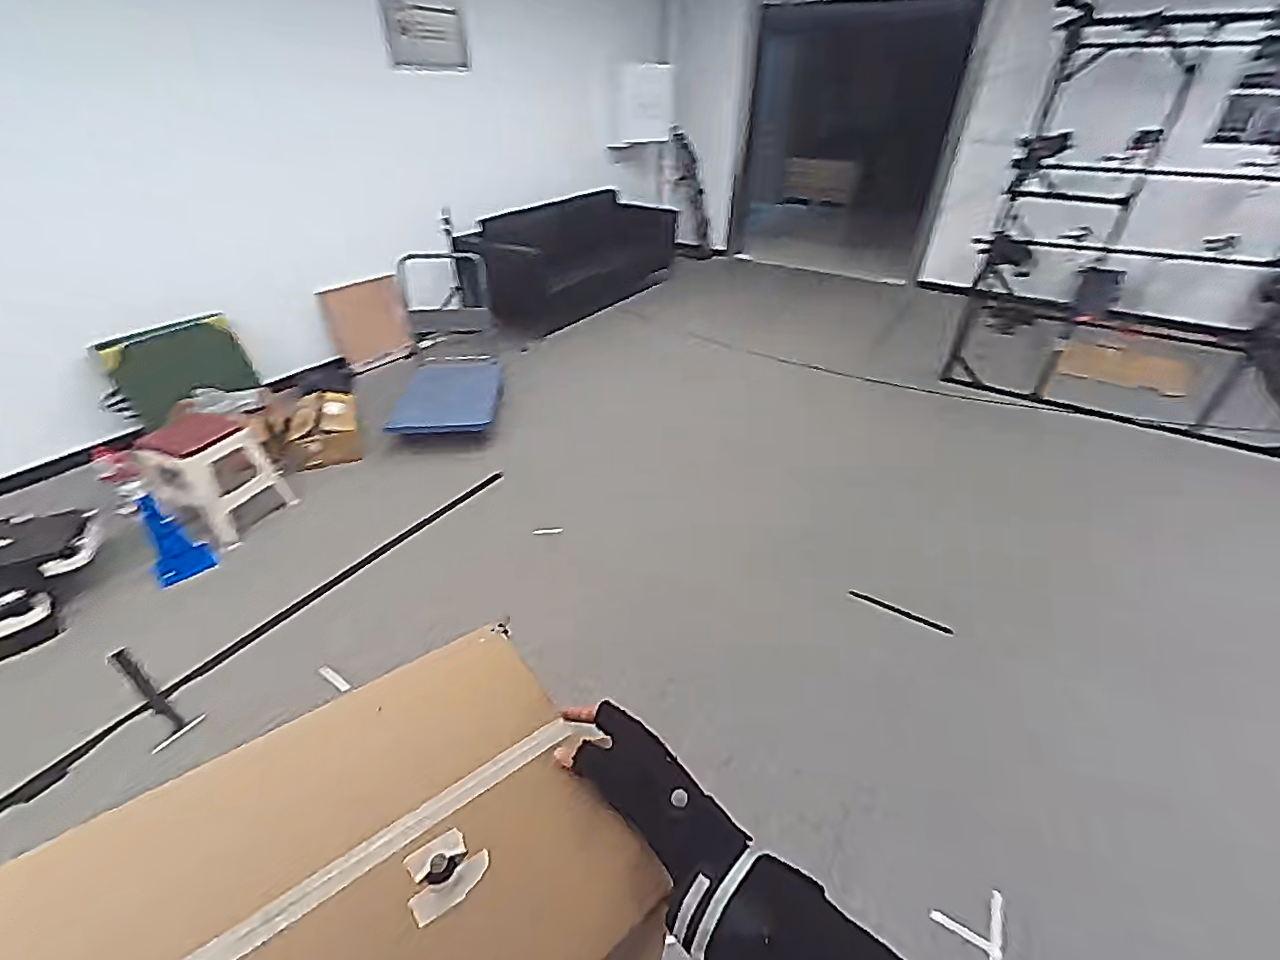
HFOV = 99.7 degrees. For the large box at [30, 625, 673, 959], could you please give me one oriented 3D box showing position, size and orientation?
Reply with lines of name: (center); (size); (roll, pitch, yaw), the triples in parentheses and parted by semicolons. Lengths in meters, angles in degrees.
large box: (-0.224, 0.423, 0.509); (0.408, 0.320, 0.320); (-21, 42, -30)
